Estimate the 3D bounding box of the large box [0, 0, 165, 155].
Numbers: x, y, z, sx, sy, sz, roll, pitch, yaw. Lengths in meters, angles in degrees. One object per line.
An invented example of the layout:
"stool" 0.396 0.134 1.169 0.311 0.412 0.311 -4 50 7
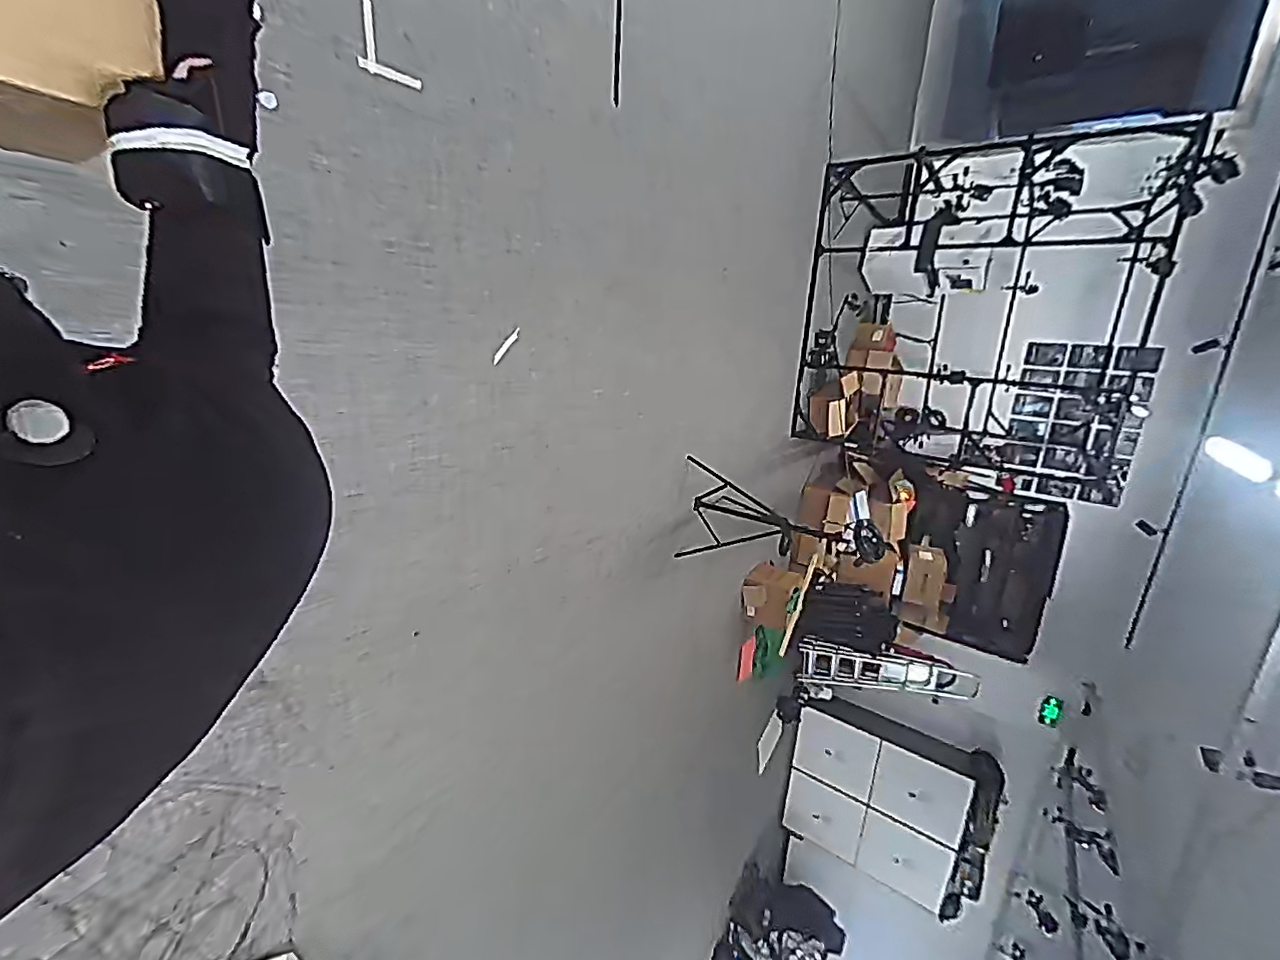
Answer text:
"large box" -0.563 -0.412 0.279 0.408 0.320 0.320 -12 115 -53
